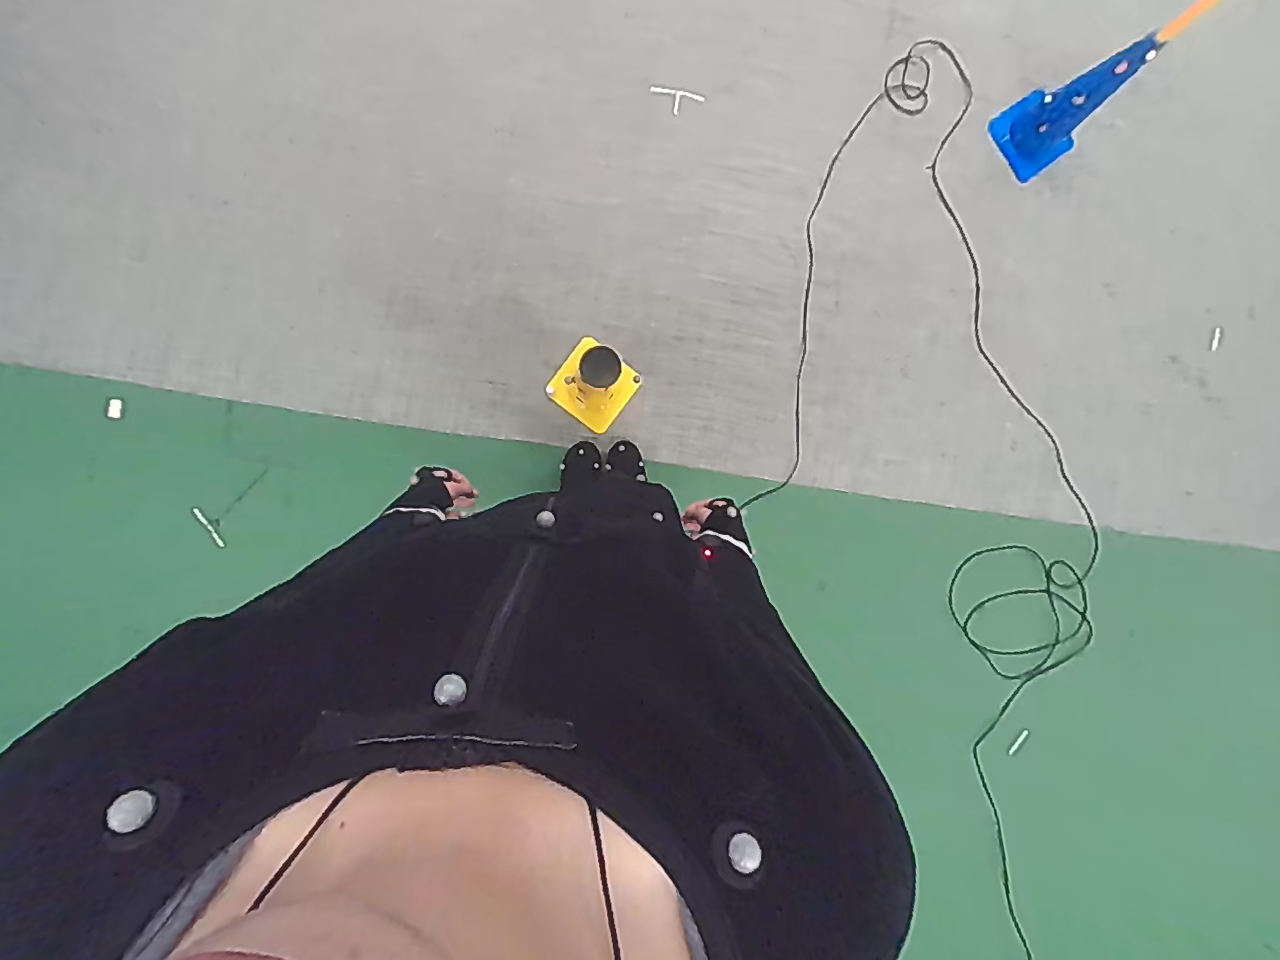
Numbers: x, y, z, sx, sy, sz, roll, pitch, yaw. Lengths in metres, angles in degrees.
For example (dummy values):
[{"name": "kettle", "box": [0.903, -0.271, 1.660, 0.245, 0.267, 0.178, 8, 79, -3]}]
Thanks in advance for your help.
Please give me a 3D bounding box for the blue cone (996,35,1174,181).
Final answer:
[{"name": "blue cone", "box": [1.131, -0.968, 1.366, 0.193, 0.380, 0.192, -37, 95, -4]}]
